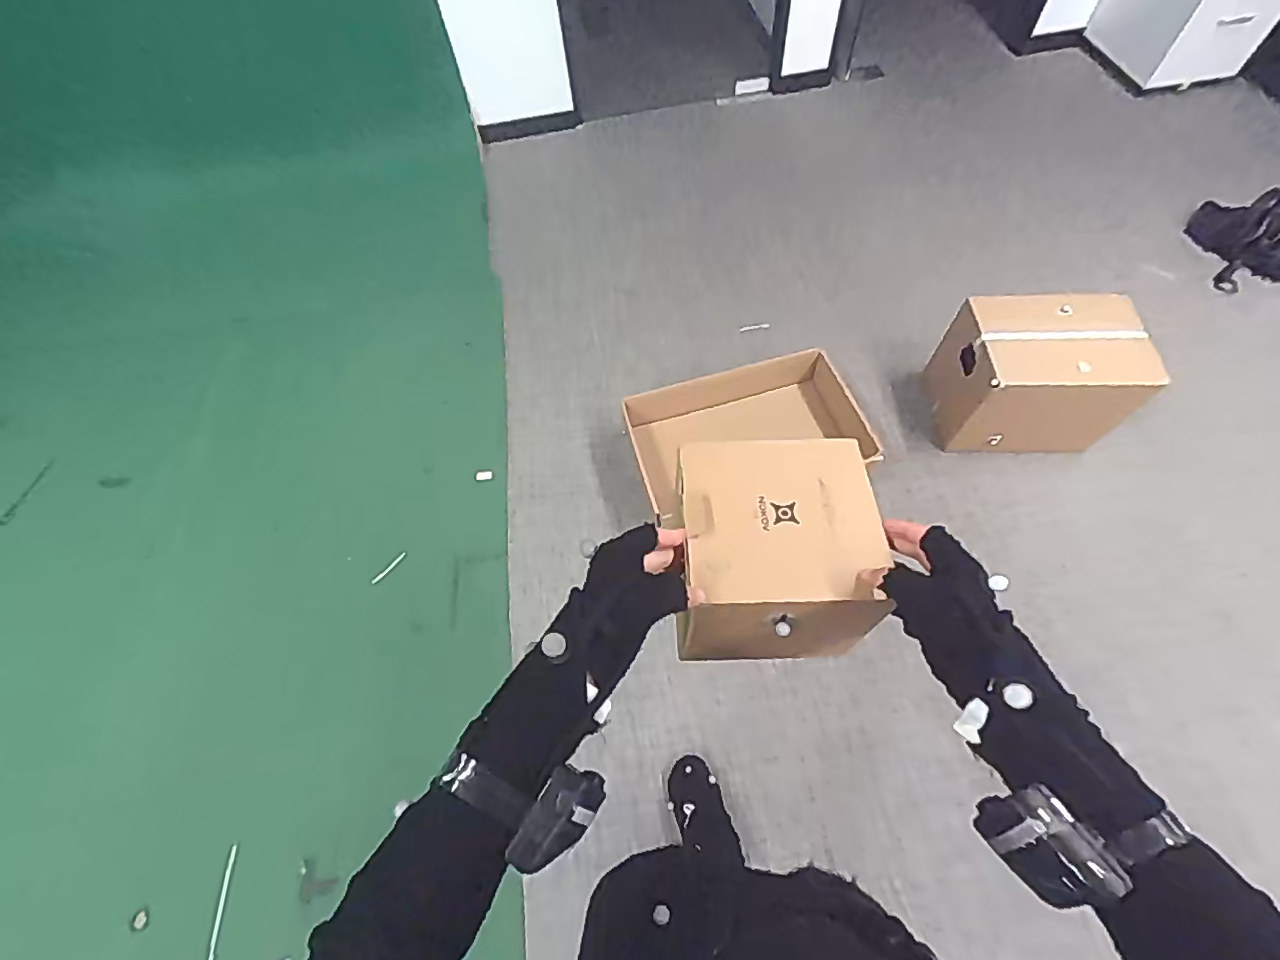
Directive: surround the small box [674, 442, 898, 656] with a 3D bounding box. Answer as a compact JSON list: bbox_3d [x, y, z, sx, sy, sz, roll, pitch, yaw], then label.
[{"bbox_3d":[0.126,0.077,0.556,0.179,0.176,0.168,-1,57,-2],"label":"small box"}]
